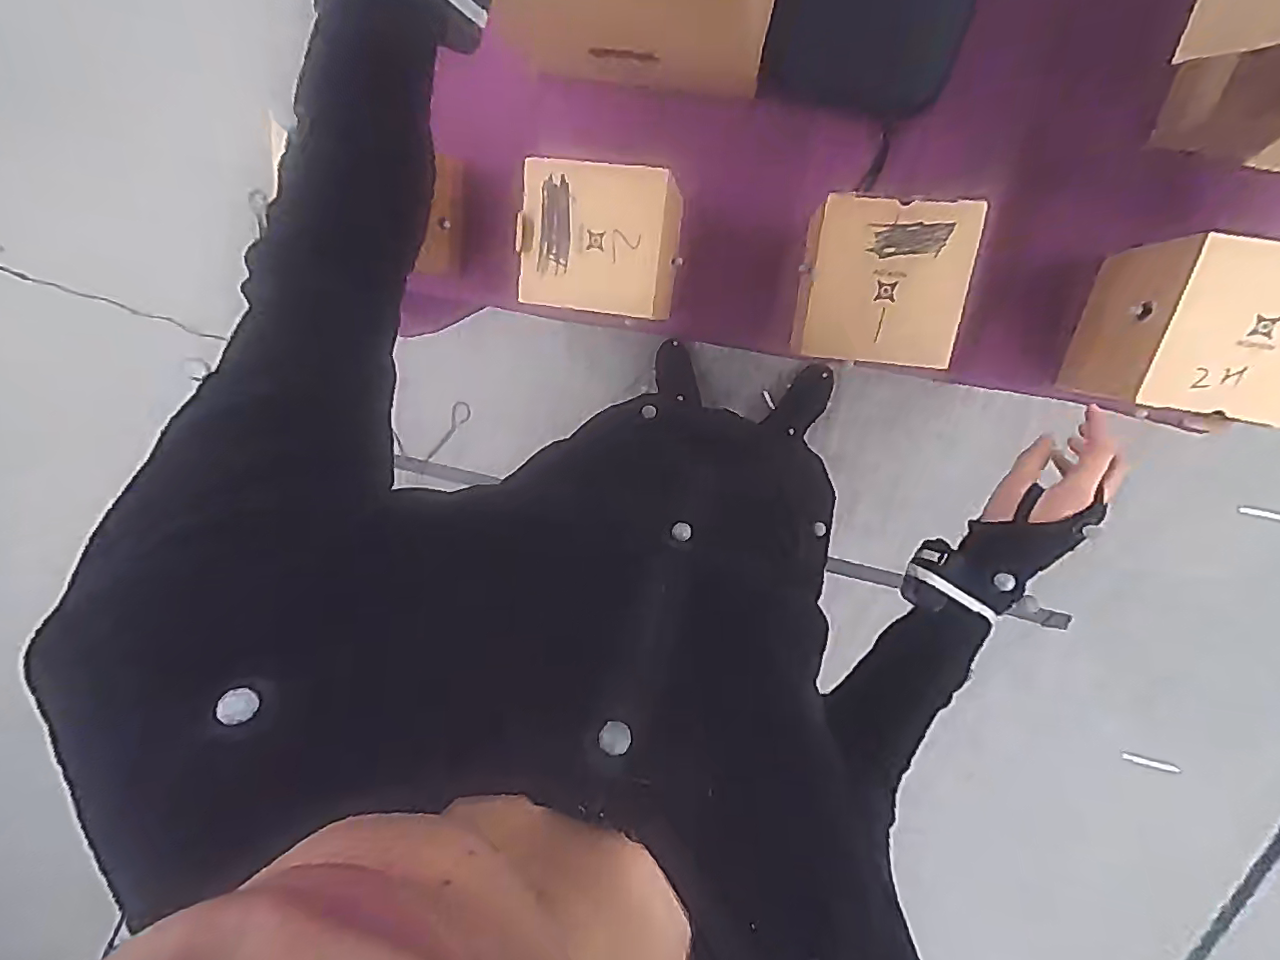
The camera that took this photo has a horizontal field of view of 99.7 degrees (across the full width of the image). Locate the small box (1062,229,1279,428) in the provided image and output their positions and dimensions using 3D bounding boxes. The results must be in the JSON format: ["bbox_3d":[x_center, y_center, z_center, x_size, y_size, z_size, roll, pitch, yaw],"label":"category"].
[{"bbox_3d":[0.642,-0.172,0.626,0.168,0.176,0.179,13,108,8],"label":"small box"}]

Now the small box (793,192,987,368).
[{"bbox_3d":[0.291,-0.243,0.677,0.168,0.176,0.179,8,108,9],"label":"small box"}]
